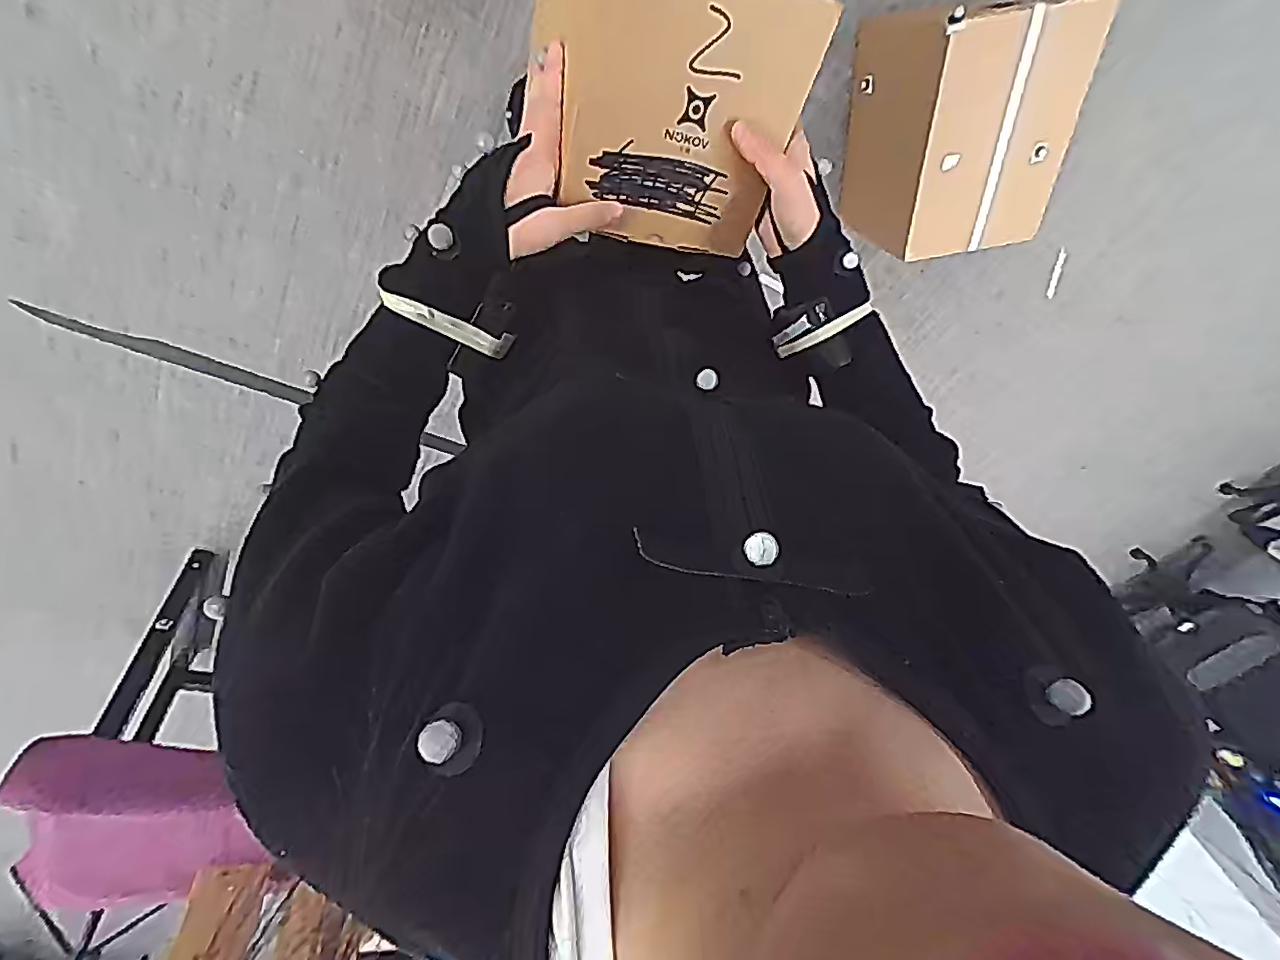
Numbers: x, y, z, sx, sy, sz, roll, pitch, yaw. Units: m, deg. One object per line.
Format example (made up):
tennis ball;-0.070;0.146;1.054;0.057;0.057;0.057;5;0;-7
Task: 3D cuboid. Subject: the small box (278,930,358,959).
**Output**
small box;-0.855;1.304;1.406;0.168;0.176;0.179;22;120;-29

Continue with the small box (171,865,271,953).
small box;-1.098;1.138;1.418;0.168;0.176;0.179;19;122;-29

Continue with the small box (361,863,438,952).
small box;-0.730;1.300;1.653;0.168;0.176;0.179;21;120;-28

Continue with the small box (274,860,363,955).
small box;-0.896;1.192;1.518;0.168;0.176;0.179;20;122;-28

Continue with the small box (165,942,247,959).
small box;-1.073;1.244;1.297;0.168;0.176;0.179;17;122;-28
